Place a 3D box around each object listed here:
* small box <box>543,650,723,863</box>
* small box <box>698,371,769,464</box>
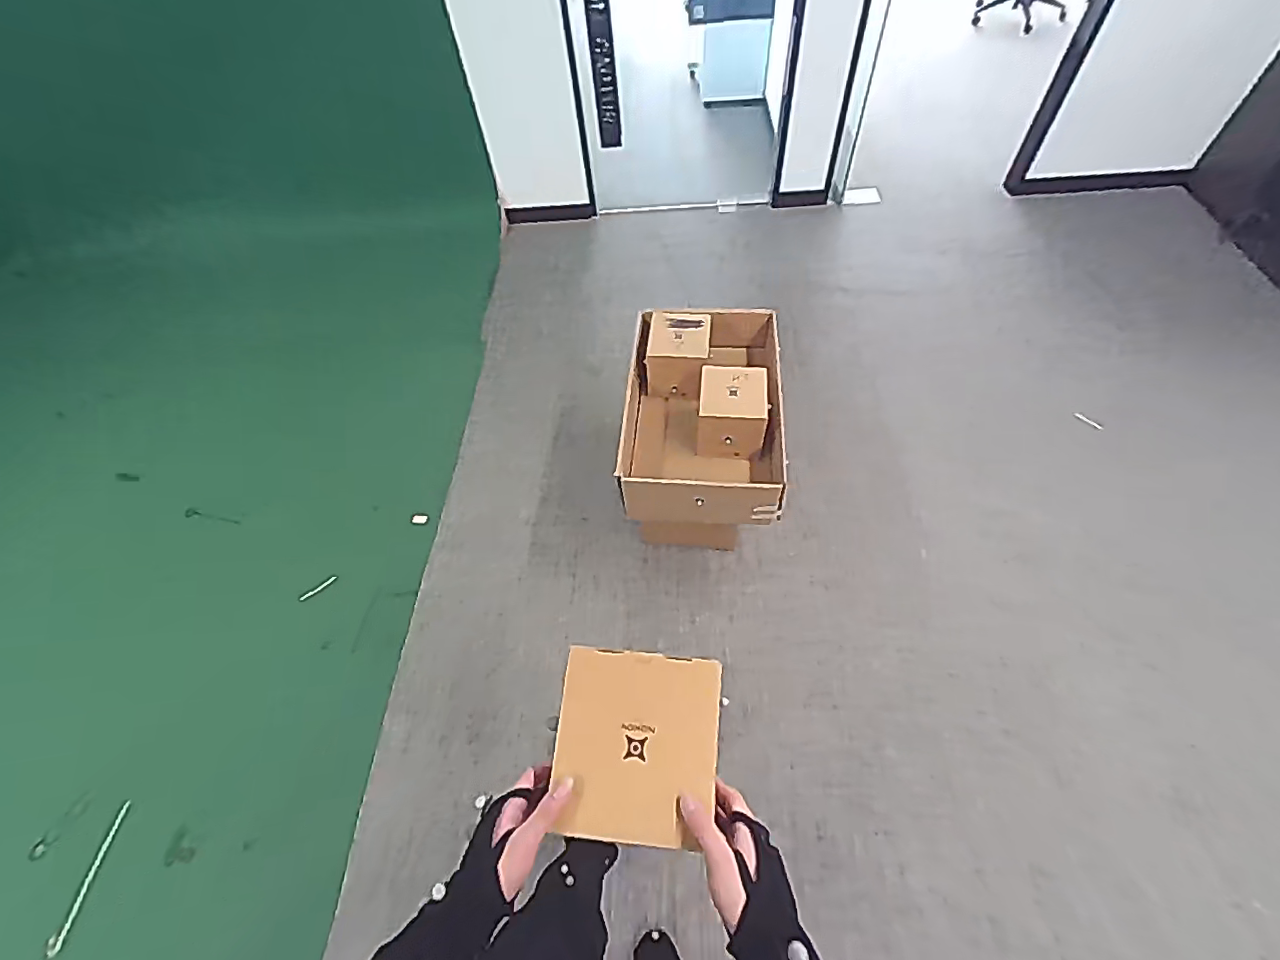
[{"bbox_3d":[0.000,0.301,0.612,0.168,0.176,0.179,5,65,3],"label":"small box"},{"bbox_3d":[0.240,-0.158,1.401,0.168,0.176,0.179,5,56,6],"label":"small box"}]
